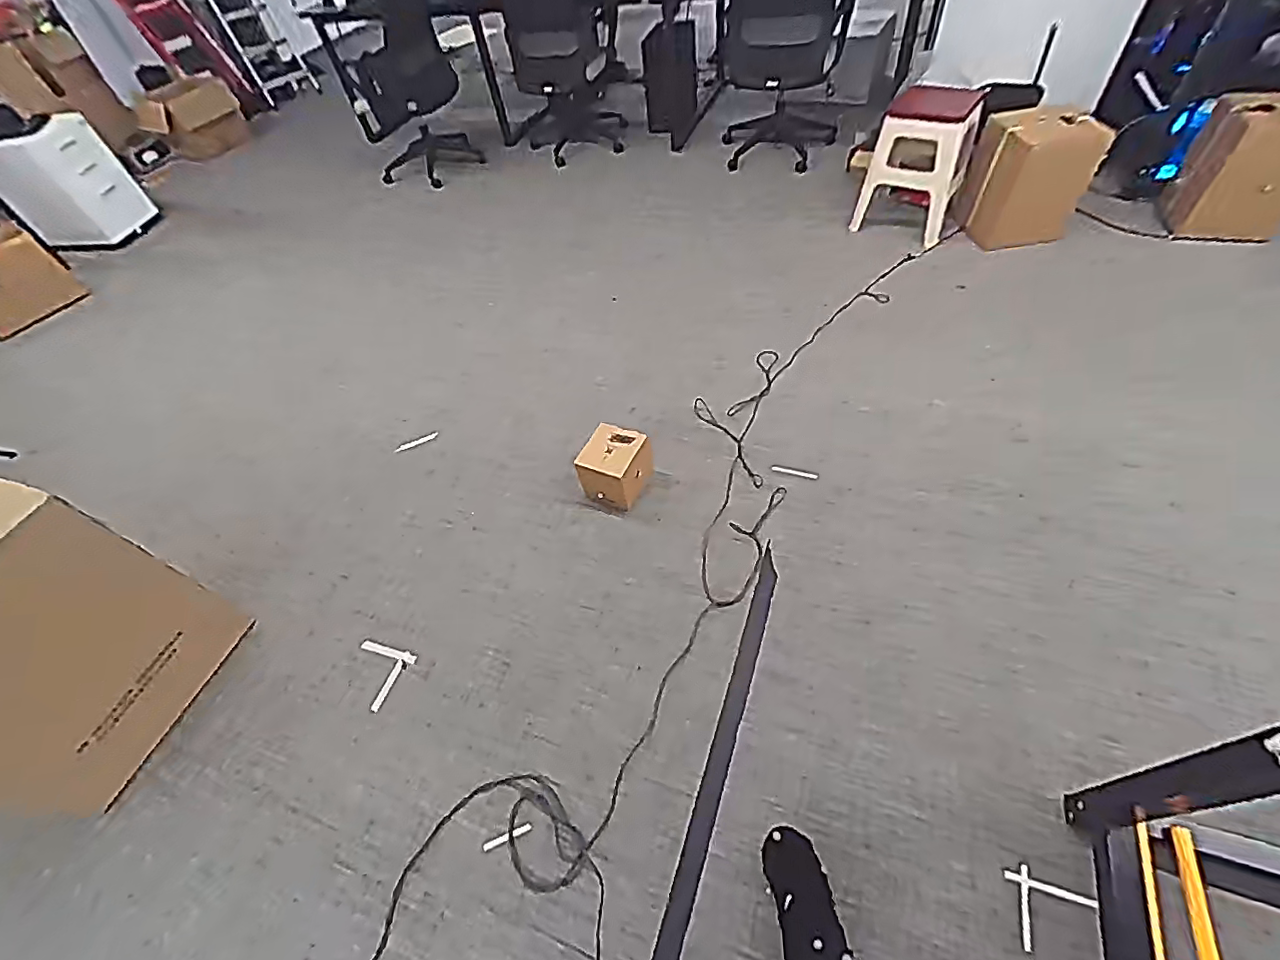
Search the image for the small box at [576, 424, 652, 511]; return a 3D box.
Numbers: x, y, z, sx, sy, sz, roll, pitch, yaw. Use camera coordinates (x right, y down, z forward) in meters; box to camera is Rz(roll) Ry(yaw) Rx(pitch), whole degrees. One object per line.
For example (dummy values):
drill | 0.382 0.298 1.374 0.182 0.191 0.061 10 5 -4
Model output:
small box | -0.072 -0.038 1.669 0.168 0.176 0.179 18 58 22
